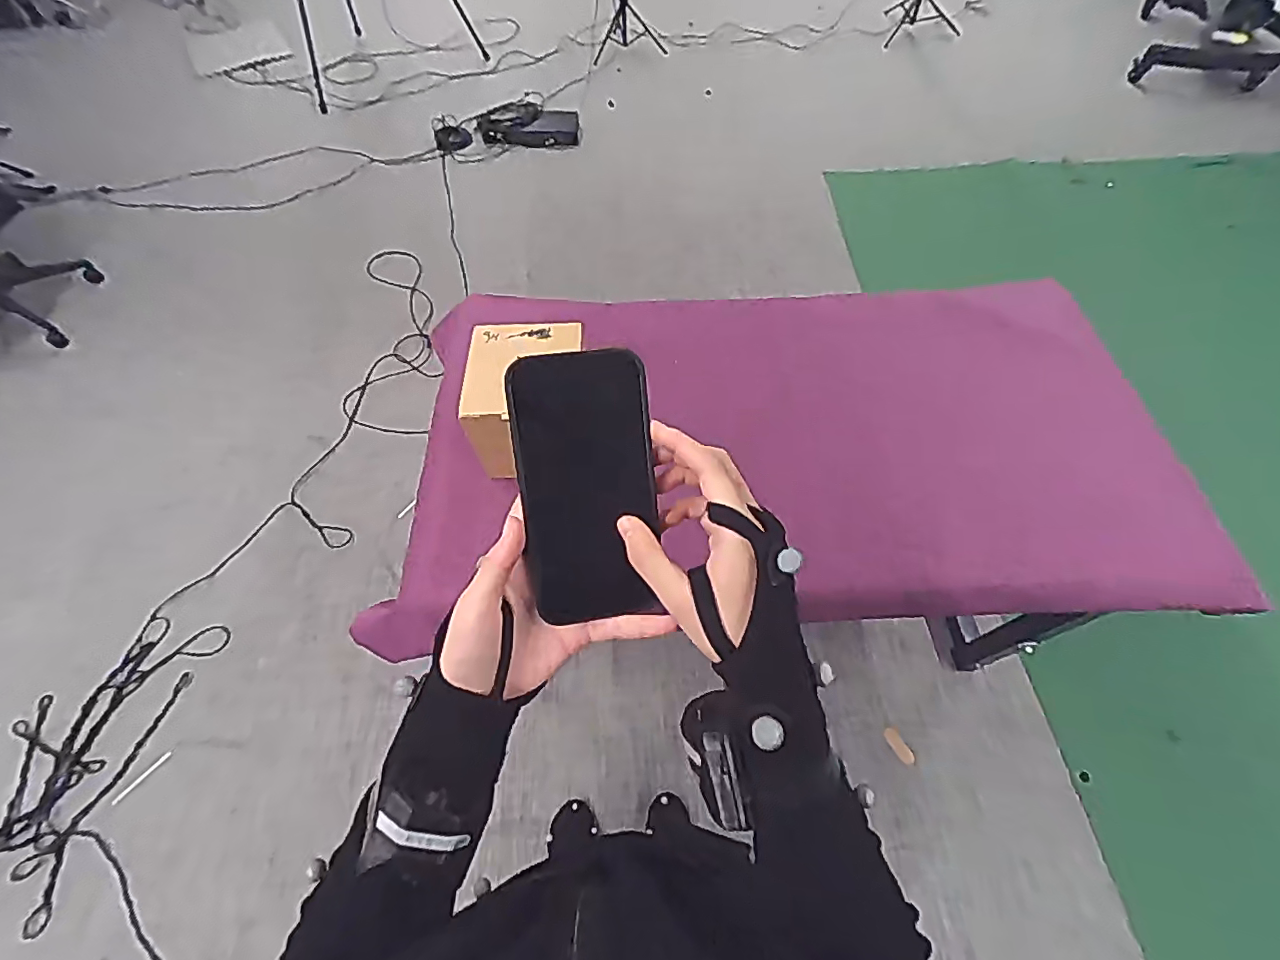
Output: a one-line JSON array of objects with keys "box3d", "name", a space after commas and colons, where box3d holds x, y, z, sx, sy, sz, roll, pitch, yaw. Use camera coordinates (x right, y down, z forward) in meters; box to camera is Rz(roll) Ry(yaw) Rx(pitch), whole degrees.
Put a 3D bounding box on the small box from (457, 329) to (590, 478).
[{"box3d": [-0.169, -0.113, 0.848, 0.168, 0.176, 0.179, -1, 59, 0], "name": "small box"}]
